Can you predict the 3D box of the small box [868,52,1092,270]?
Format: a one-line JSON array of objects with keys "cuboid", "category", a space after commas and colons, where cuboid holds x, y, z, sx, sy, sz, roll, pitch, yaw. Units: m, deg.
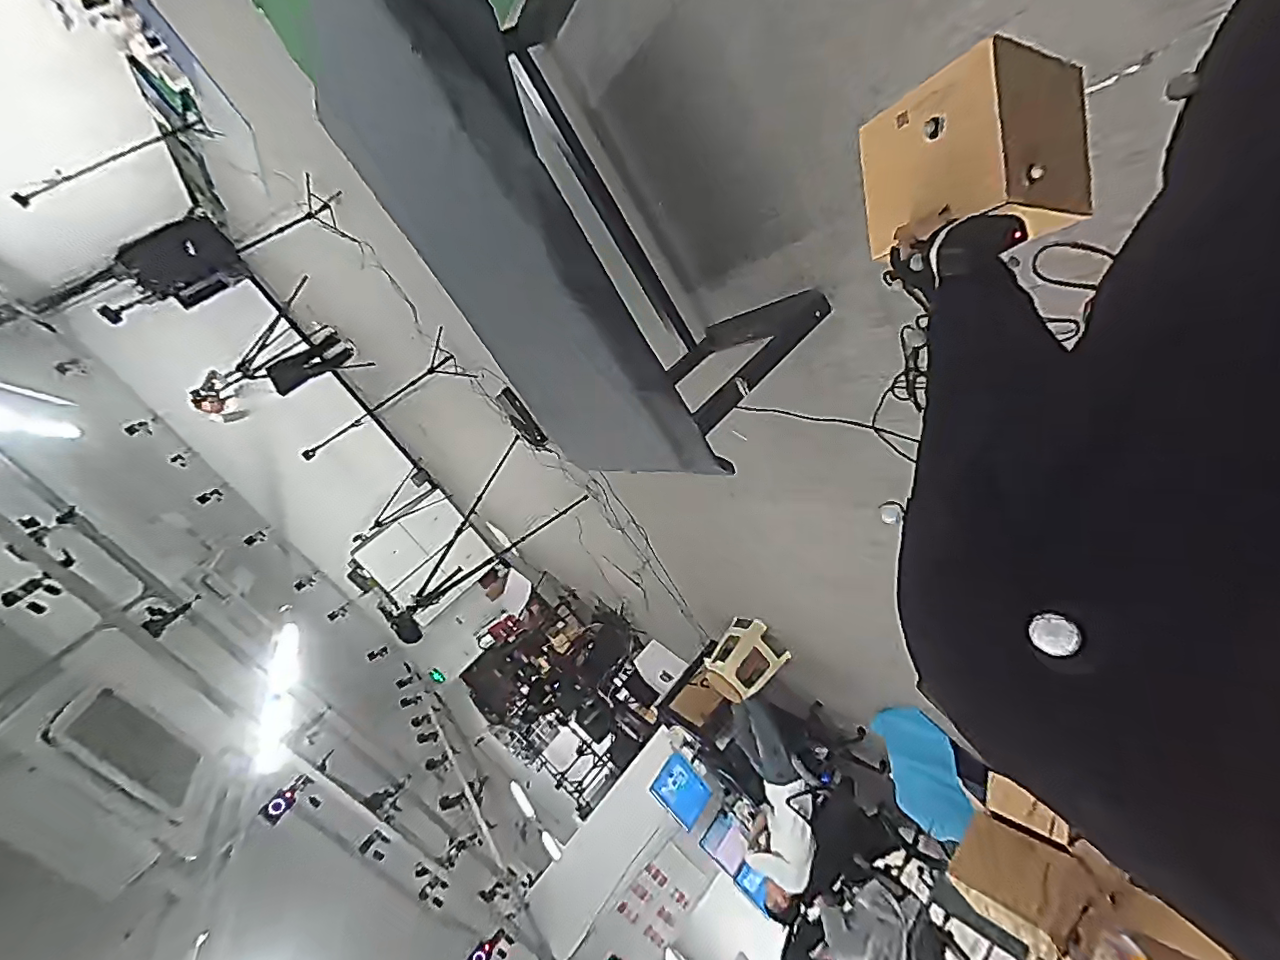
[{"cuboid": [0.404, -0.368, 0.653, 0.168, 0.179, 0.176, -1, 97, 64], "category": "small box"}]
